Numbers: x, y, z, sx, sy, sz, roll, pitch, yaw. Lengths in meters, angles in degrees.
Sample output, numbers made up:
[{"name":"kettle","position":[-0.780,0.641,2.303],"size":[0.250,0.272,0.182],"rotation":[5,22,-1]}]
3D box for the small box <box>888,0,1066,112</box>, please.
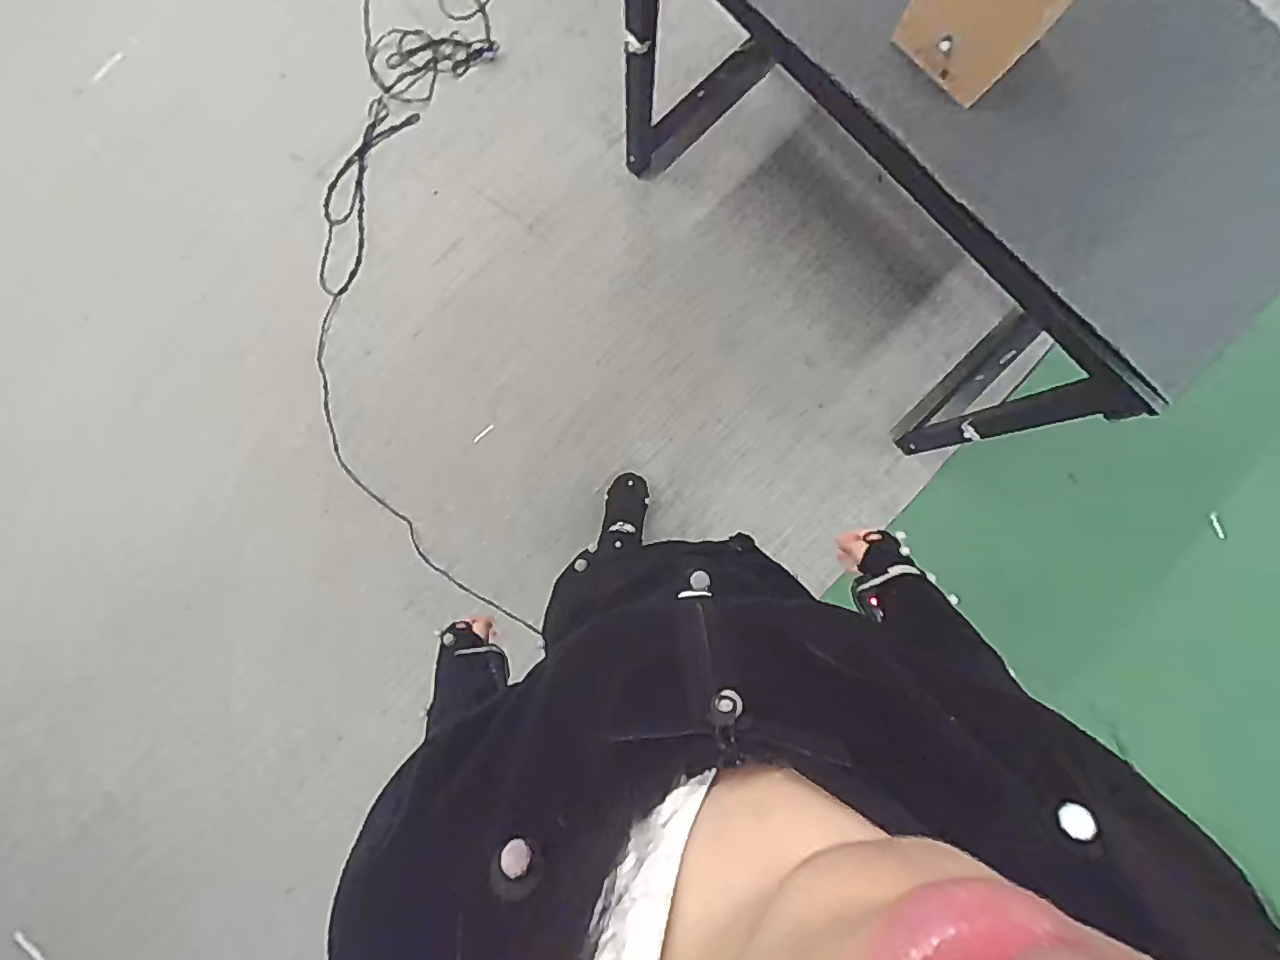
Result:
[{"name":"small box","position":[0.498,-0.691,0.774],"size":[0.168,0.176,0.179],"rotation":[44,85,2]}]
